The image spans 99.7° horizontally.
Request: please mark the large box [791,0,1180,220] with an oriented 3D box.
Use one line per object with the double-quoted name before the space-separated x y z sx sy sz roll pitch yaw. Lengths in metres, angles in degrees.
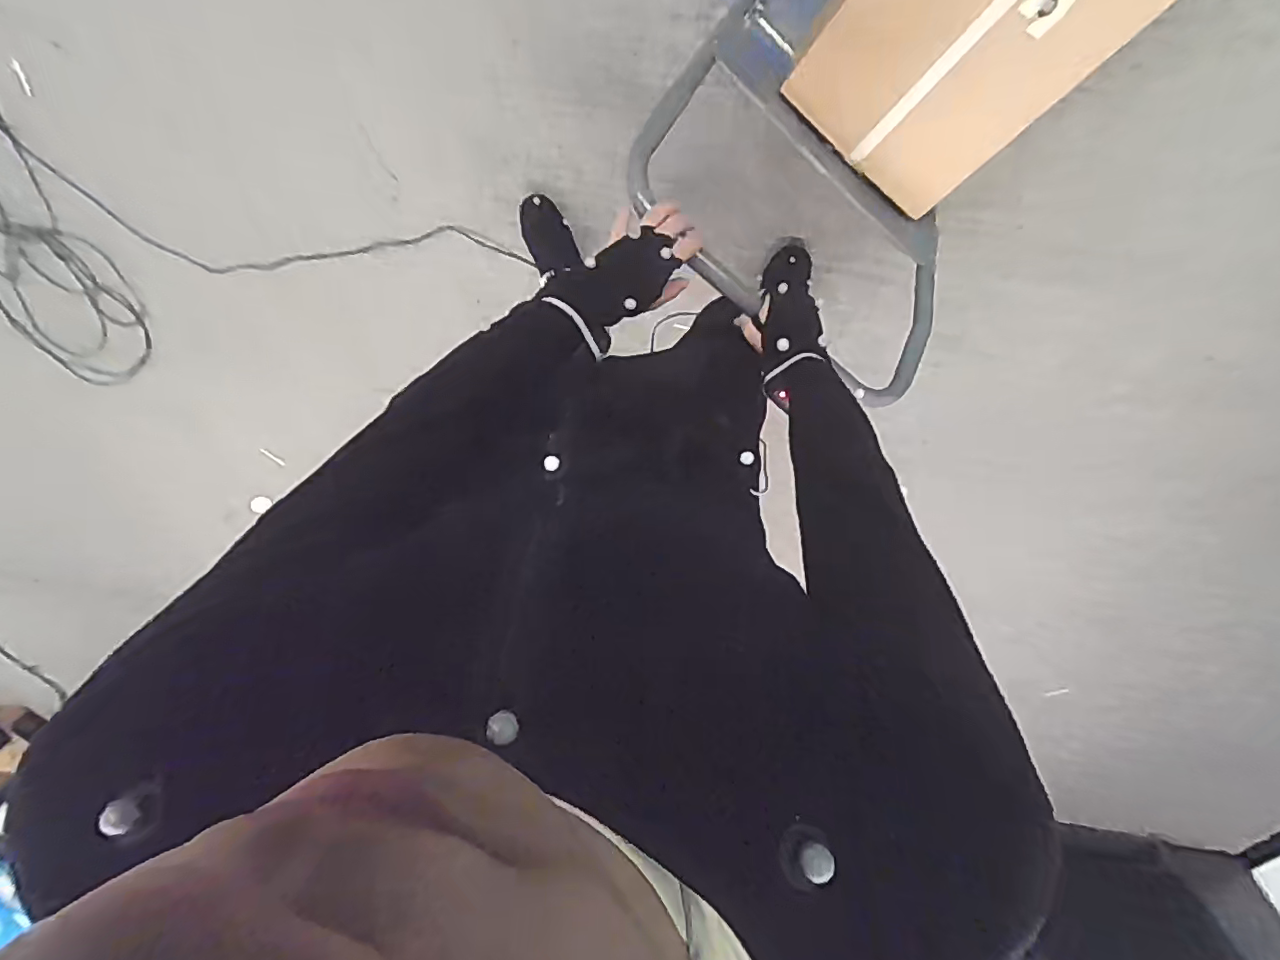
"large box" 0.491 -0.701 0.805 0.320 0.320 0.408 34 141 -16
